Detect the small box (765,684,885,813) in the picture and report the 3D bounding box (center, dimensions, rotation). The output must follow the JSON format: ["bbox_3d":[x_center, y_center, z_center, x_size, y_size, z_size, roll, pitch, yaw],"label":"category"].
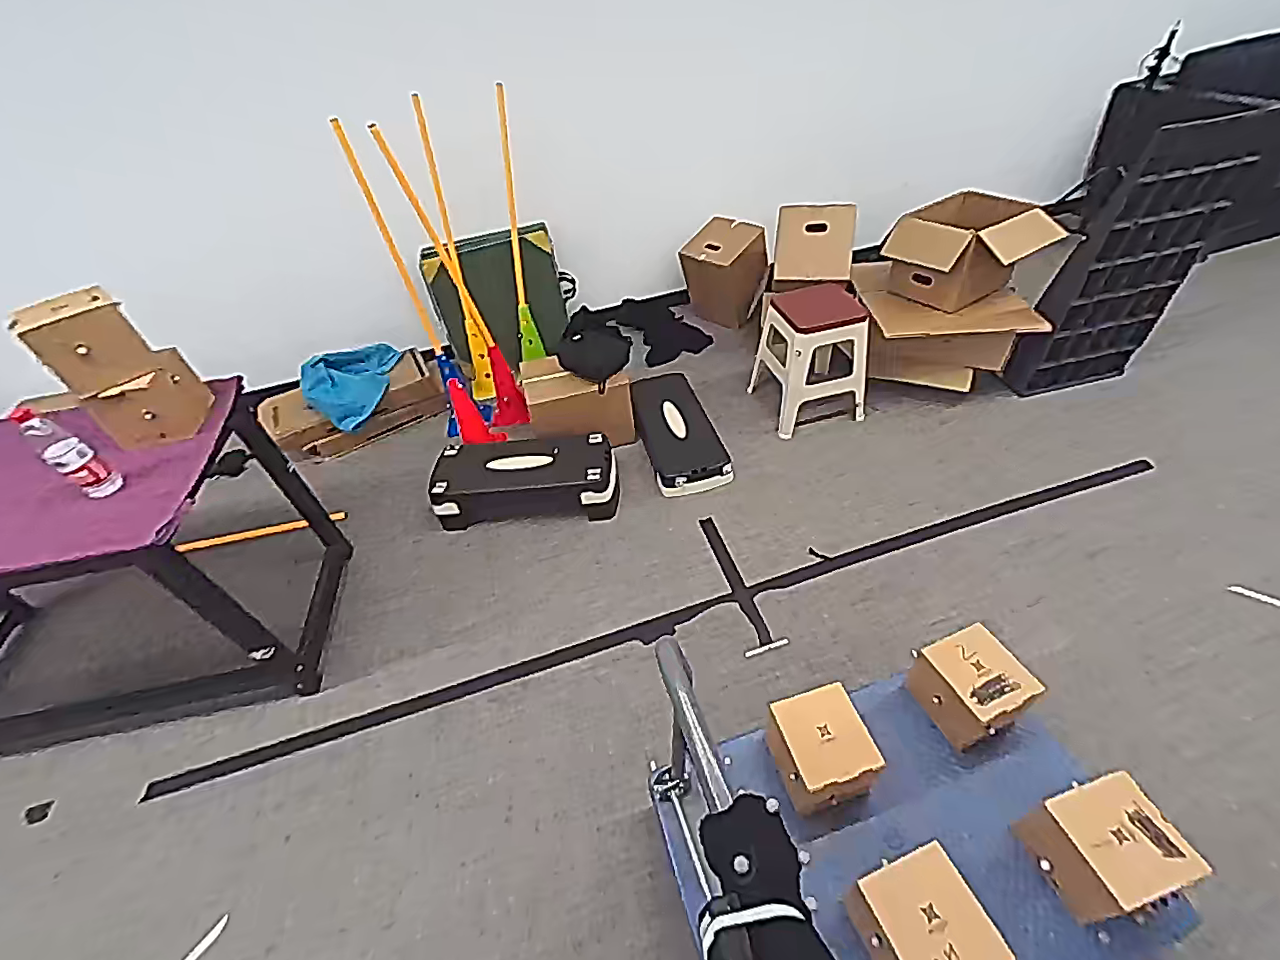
[{"bbox_3d":[0.376,0.566,1.141,0.168,0.176,0.179,-14,46,-8],"label":"small box"}]

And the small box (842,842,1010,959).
[{"bbox_3d":[0.472,0.767,0.925,0.168,0.176,0.179,-17,45,-10],"label":"small box"}]

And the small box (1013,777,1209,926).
[{"bbox_3d":[0.830,0.672,0.977,0.179,0.176,0.168,-16,45,-7],"label":"small box"}]
